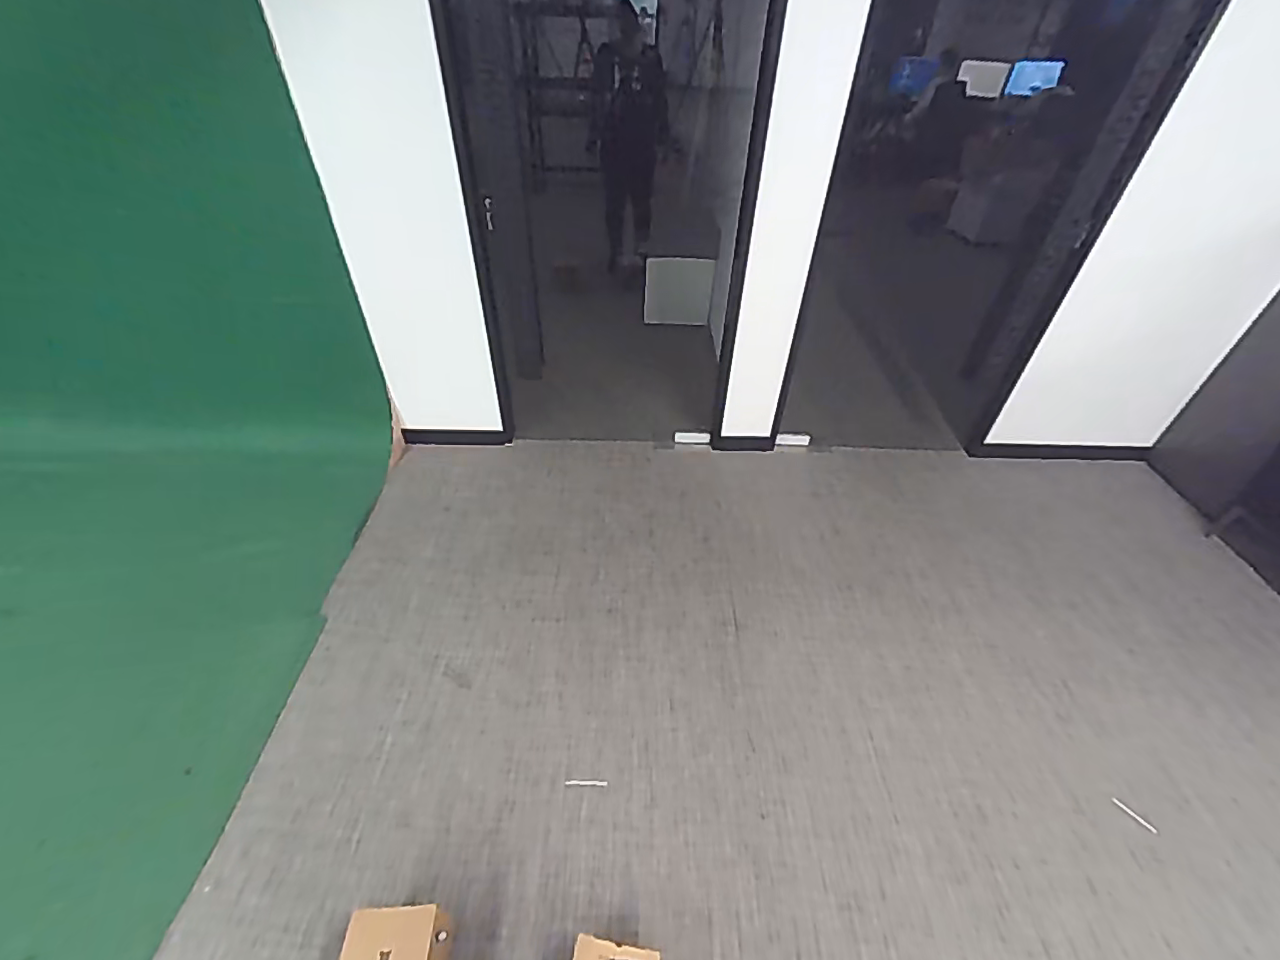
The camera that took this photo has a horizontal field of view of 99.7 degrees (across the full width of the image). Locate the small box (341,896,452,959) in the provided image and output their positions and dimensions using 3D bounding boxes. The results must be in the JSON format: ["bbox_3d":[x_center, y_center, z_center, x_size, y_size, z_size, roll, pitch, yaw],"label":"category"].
[{"bbox_3d":[-0.480,0.953,1.066,0.168,0.176,0.179,-1,41,-3],"label":"small box"}]

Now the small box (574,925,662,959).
[{"bbox_3d":[-0.055,0.997,1.035,0.168,0.176,0.179,8,42,7],"label":"small box"}]
